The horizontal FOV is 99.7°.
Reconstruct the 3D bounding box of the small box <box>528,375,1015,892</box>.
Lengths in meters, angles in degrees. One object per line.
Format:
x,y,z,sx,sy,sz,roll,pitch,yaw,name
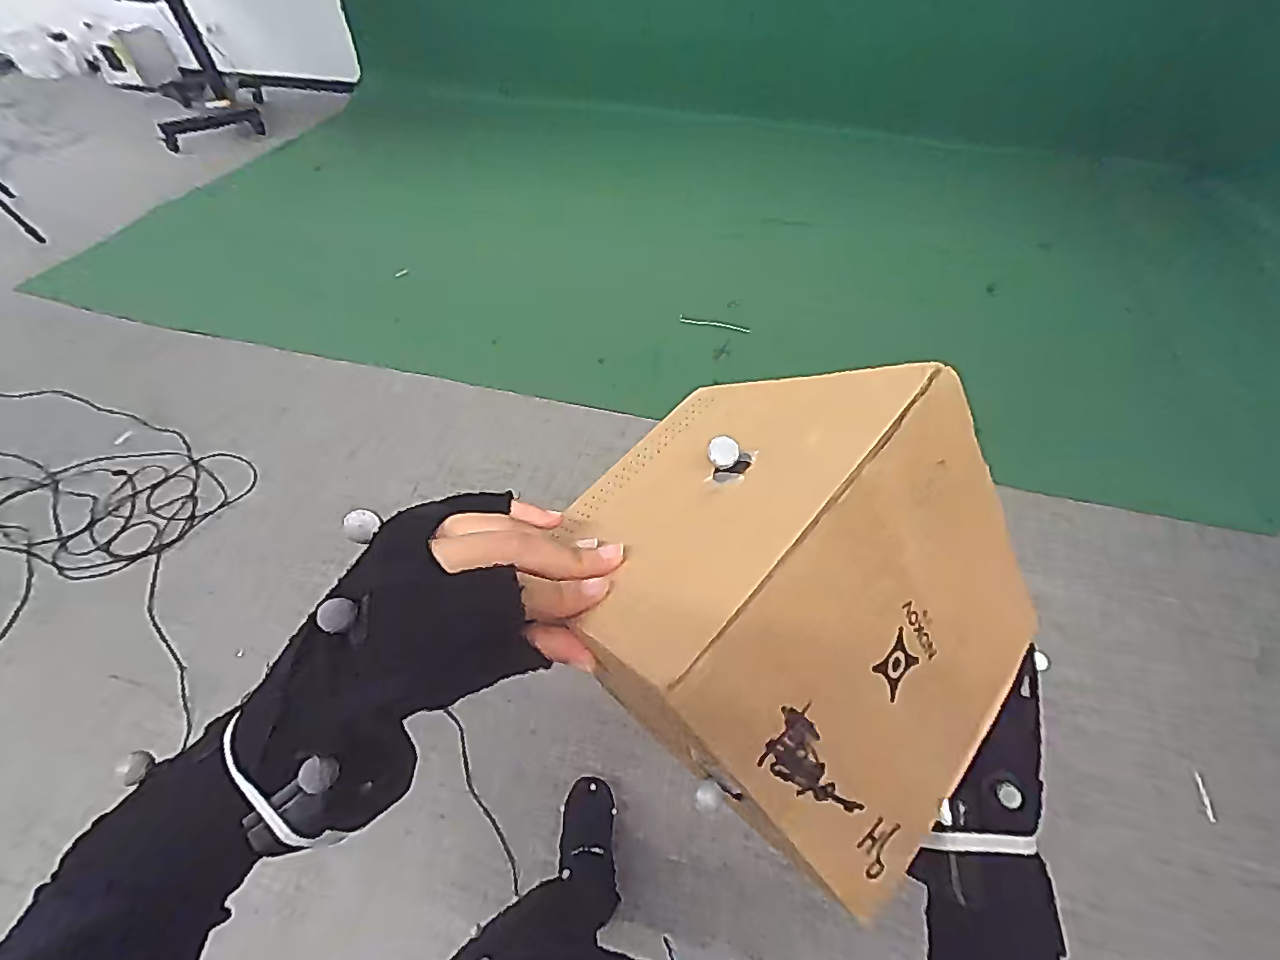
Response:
0.068,0.061,0.306,0.179,0.168,0.176,-44,25,-22,small box
